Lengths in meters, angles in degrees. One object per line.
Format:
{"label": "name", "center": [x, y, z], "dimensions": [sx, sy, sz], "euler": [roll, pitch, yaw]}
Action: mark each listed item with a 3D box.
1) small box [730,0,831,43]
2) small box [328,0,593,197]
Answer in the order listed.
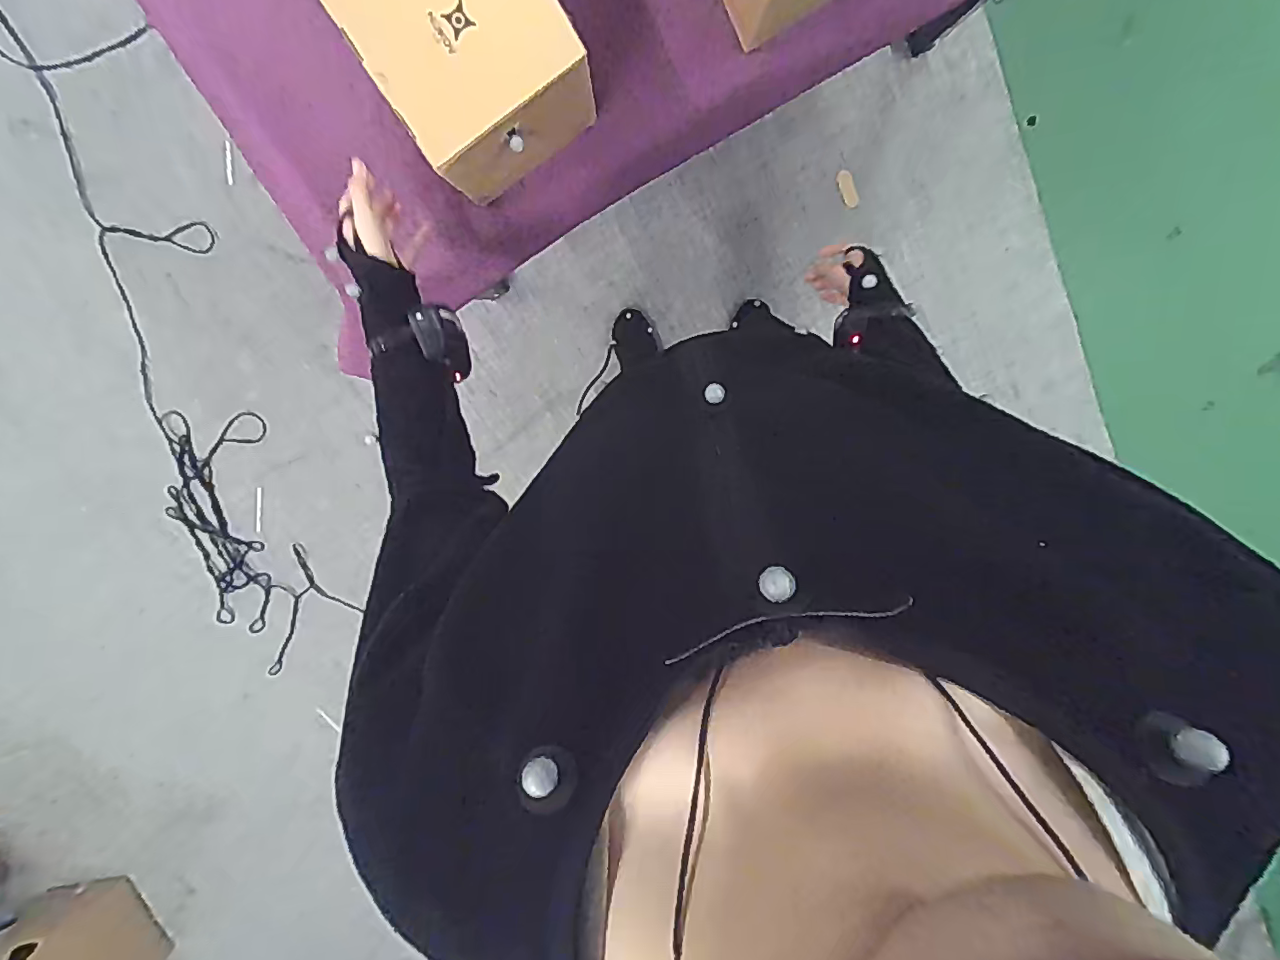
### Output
{"label": "small box", "center": [0.160, -0.573, 0.512], "dimensions": [0.179, 0.176, 0.168], "euler": [-27, 106, 7]}
{"label": "small box", "center": [-0.161, -0.426, 0.555], "dimensions": [0.179, 0.176, 0.168], "euler": [-32, 105, 9]}
